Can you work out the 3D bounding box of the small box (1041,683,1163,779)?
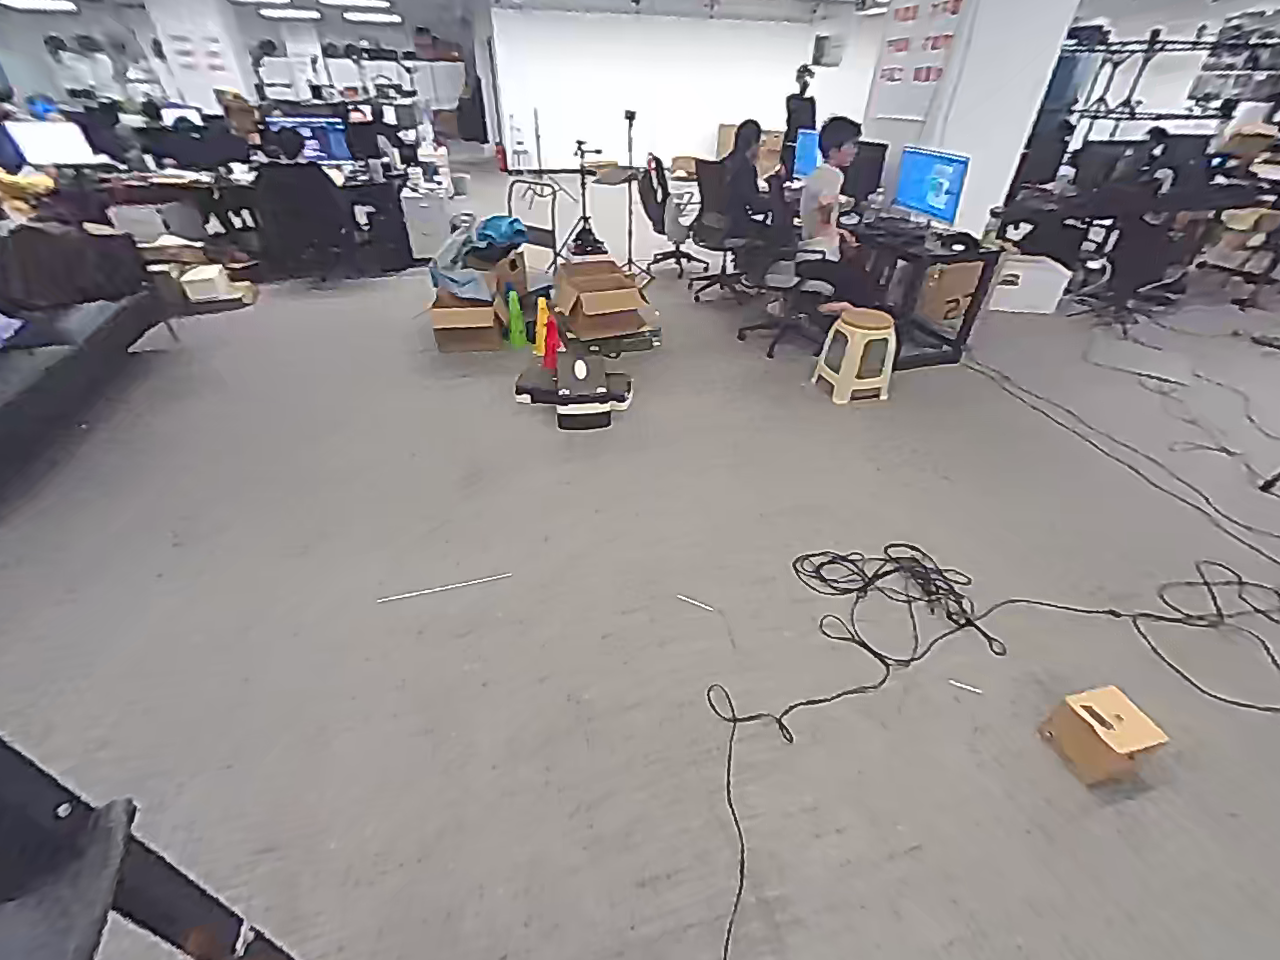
[{"bbox_3d":[1.260,0.697,1.497,0.179,0.176,0.168,-7,37,-12],"label":"small box"}]
